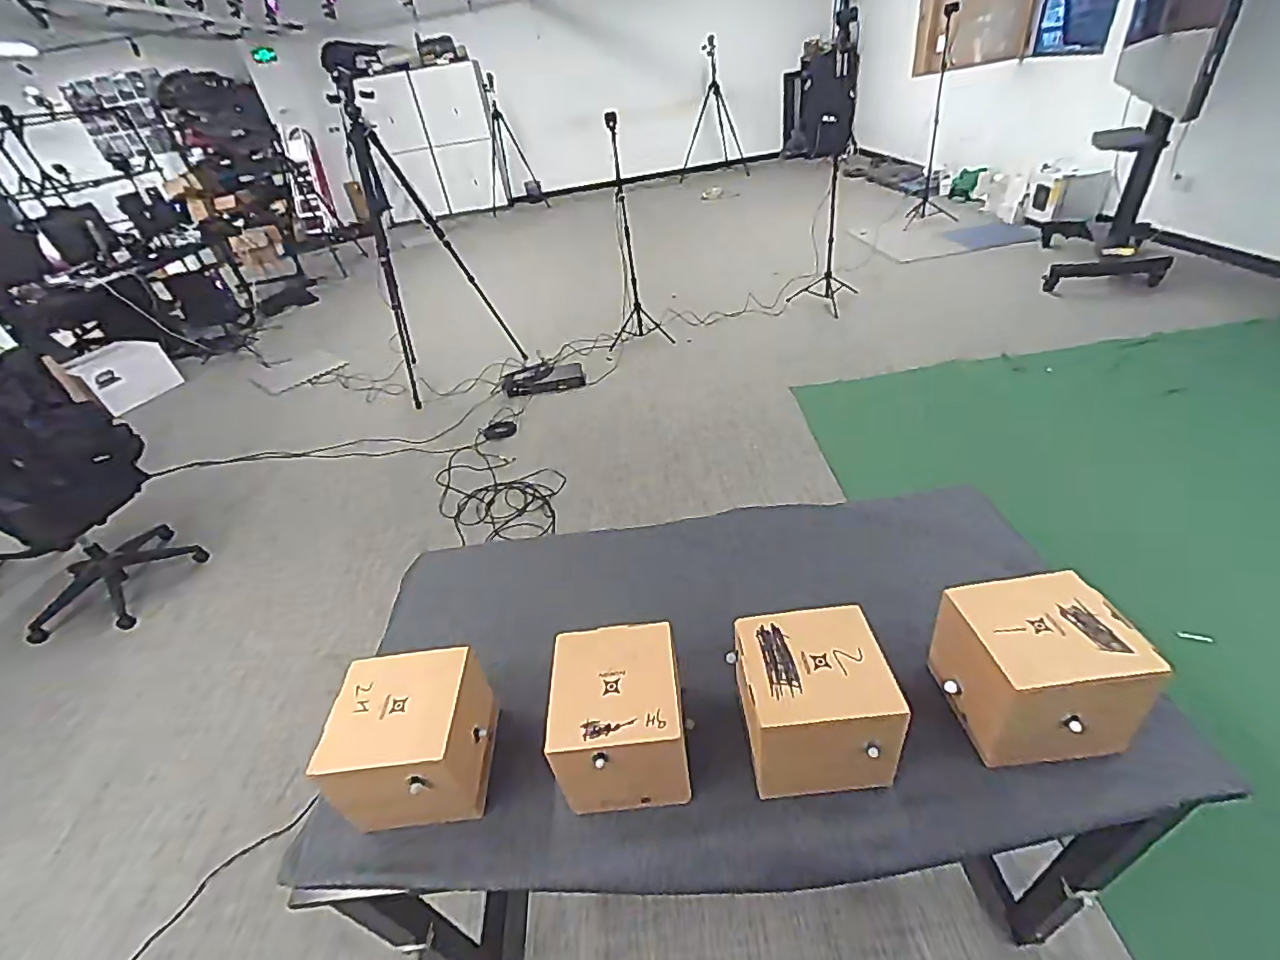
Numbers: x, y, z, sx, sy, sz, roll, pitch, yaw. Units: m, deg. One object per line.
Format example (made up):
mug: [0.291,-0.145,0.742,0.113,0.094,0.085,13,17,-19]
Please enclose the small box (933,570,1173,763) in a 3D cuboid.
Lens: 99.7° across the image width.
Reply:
small box: [0.518,0.246,0.714,0.179,0.176,0.168,-9,33,4]
